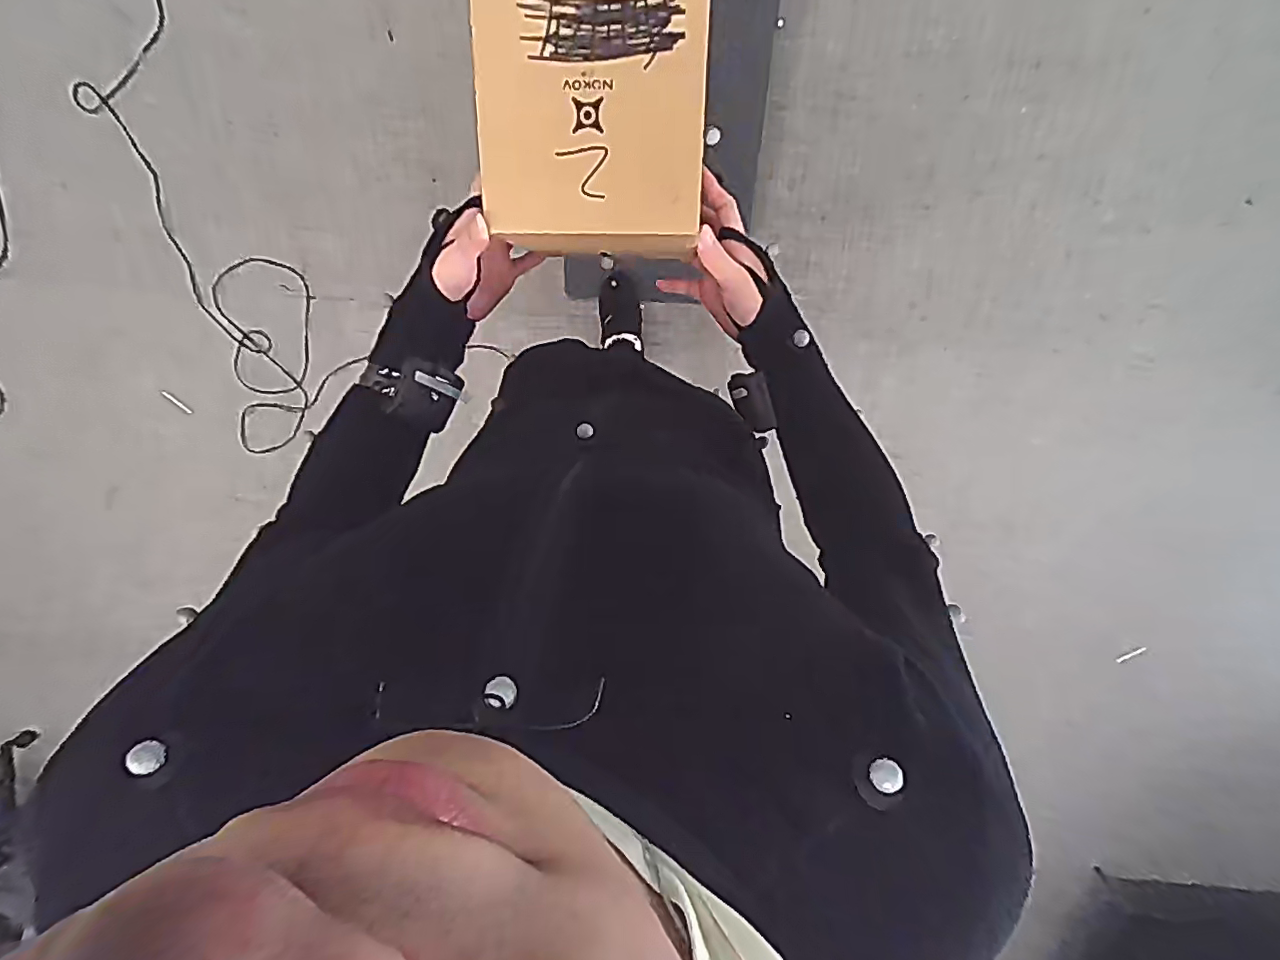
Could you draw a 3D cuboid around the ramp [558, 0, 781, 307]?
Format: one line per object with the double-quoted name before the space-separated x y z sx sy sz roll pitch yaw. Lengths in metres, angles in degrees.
"ramp" 0.059 -0.922 1.247 0.509 0.206 0.991 1 109 1
